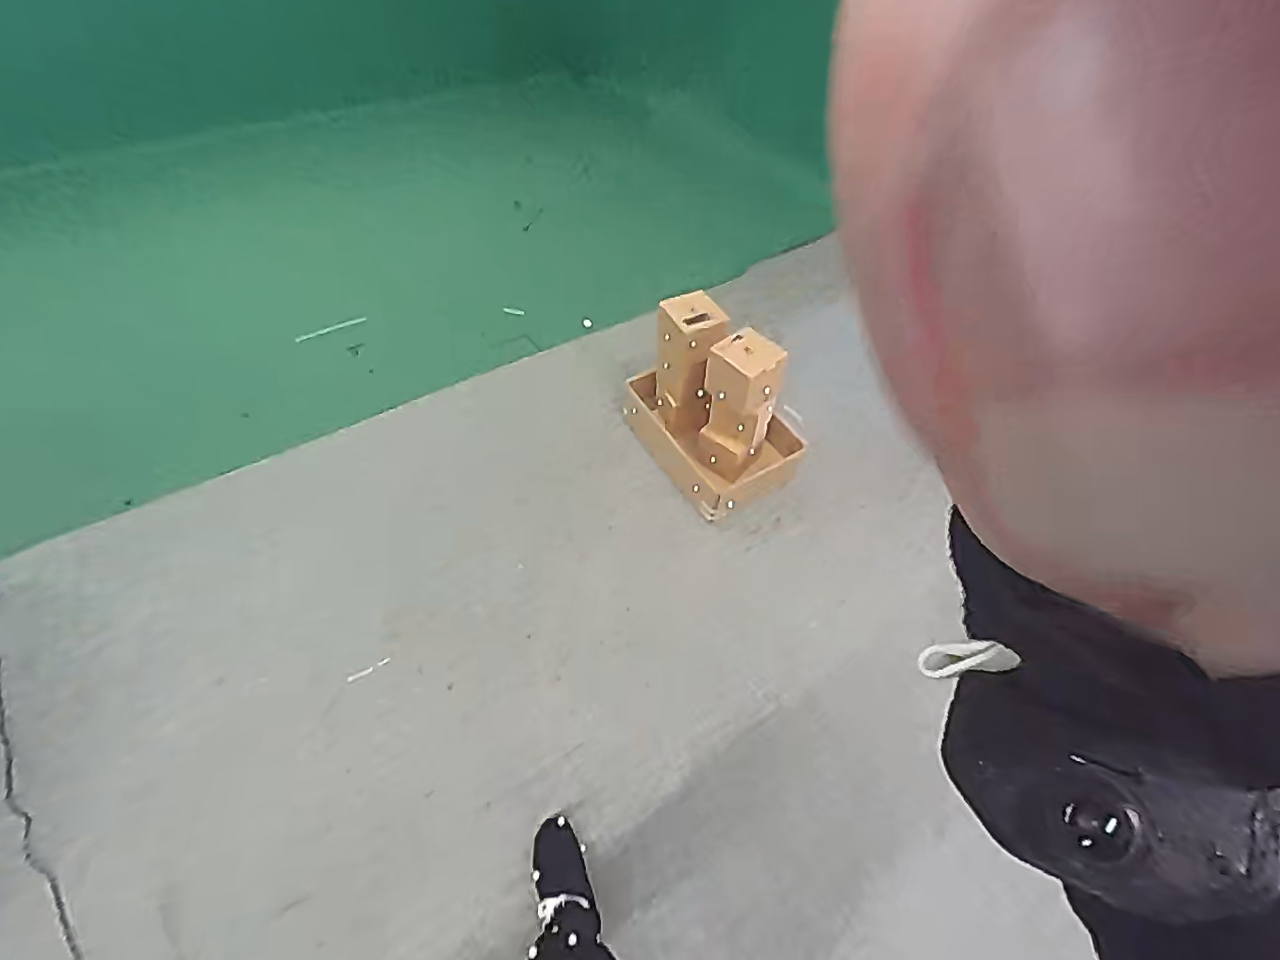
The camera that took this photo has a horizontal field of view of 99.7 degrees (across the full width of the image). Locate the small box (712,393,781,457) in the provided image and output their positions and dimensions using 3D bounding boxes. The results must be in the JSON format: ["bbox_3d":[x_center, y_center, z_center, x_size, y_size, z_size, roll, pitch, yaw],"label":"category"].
[{"bbox_3d":[0.350,-0.208,1.812,0.168,0.176,0.179,26,55,19],"label":"small box"}]

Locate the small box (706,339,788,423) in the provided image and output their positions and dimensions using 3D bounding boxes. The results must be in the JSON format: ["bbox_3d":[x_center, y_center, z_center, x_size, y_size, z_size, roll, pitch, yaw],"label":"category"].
[{"bbox_3d":[0.326,-0.299,1.676,0.168,0.176,0.179,-33,59,-23],"label":"small box"}]

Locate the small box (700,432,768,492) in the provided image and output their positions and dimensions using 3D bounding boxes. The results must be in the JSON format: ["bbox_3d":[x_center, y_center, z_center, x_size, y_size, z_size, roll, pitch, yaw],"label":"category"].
[{"bbox_3d":[0.329,-0.088,1.925,0.168,0.176,0.179,35,59,25],"label":"small box"}]
